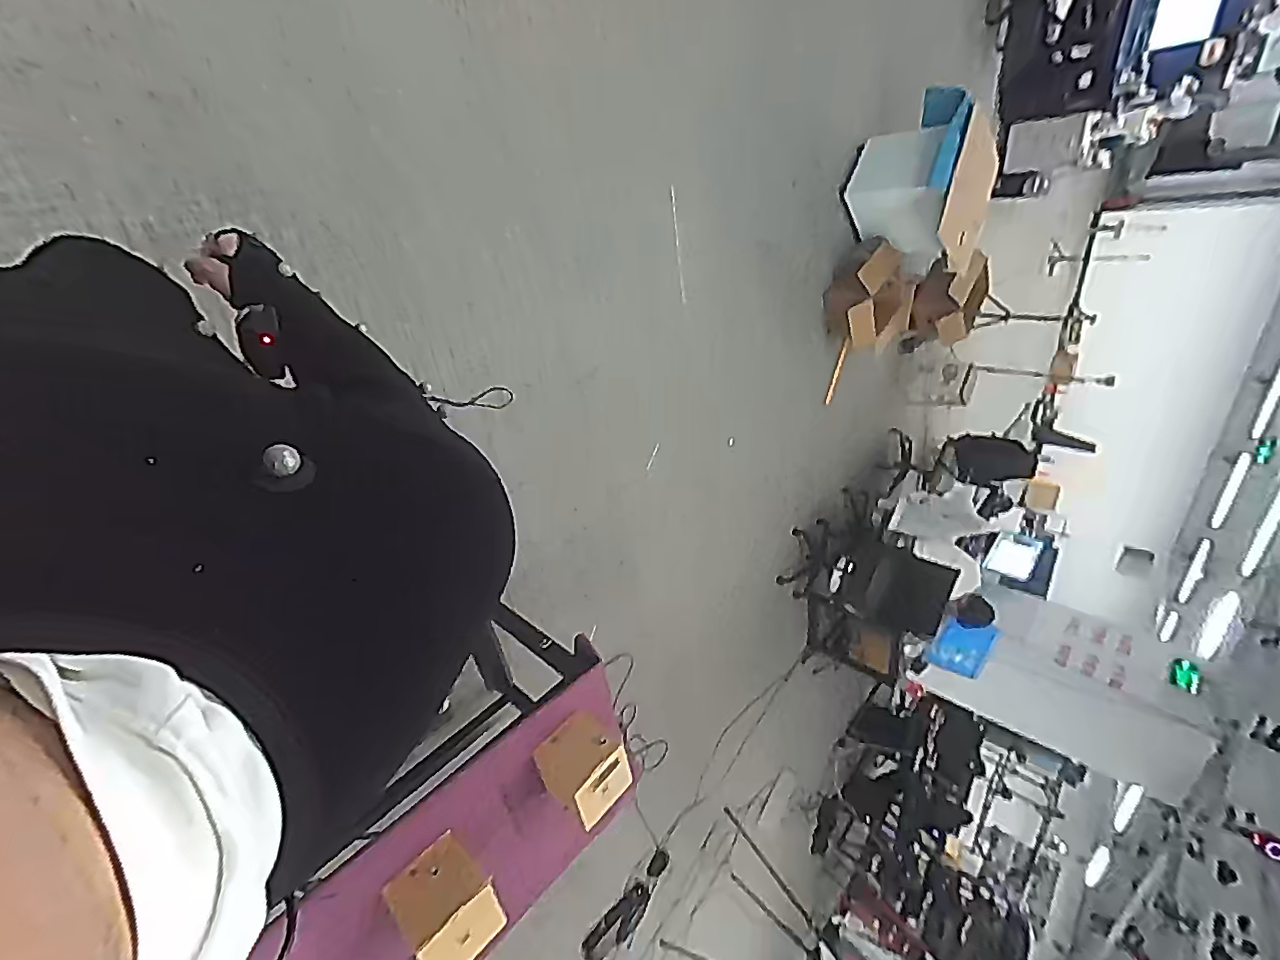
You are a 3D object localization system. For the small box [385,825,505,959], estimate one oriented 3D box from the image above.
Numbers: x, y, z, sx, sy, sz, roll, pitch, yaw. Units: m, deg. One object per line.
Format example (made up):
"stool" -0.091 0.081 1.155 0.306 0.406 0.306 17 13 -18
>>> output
"small box" -0.426 0.913 1.188 0.168 0.176 0.179 -31 127 -36
